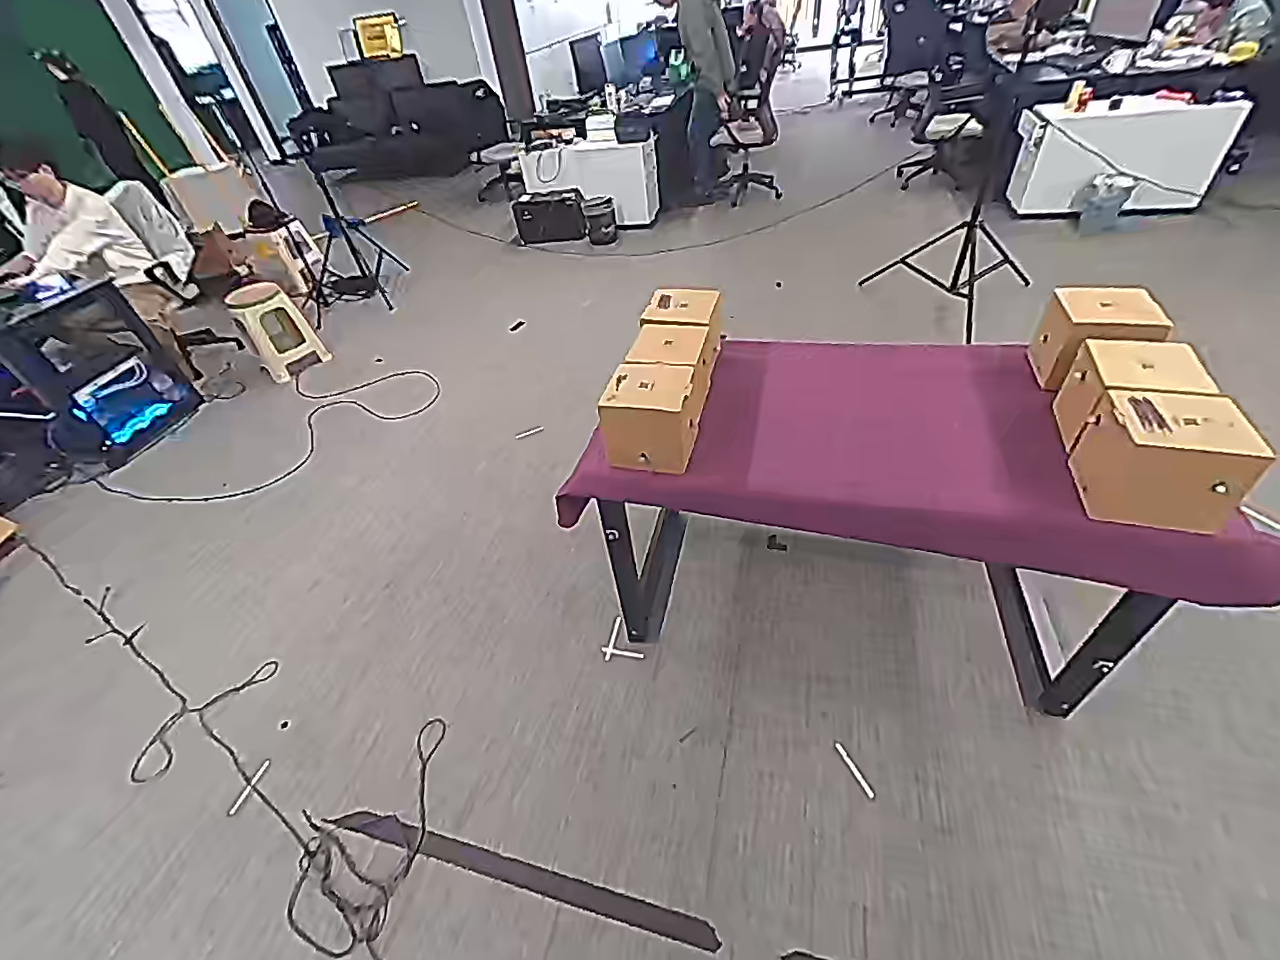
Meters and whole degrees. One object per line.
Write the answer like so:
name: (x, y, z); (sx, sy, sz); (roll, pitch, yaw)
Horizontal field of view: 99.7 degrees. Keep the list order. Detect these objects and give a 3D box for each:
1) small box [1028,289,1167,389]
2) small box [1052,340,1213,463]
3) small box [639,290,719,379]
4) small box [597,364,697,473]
small box: (1.001, -0.310, 1.208); (0.179, 0.176, 0.168); (7, 46, 15)
small box: (0.945, -0.154, 1.058); (0.168, 0.176, 0.179); (9, 44, 19)
small box: (0.109, -0.384, 1.432); (0.179, 0.176, 0.168); (8, 47, 15)
small box: (0.023, -0.133, 1.179); (0.179, 0.176, 0.168); (7, 44, 15)
